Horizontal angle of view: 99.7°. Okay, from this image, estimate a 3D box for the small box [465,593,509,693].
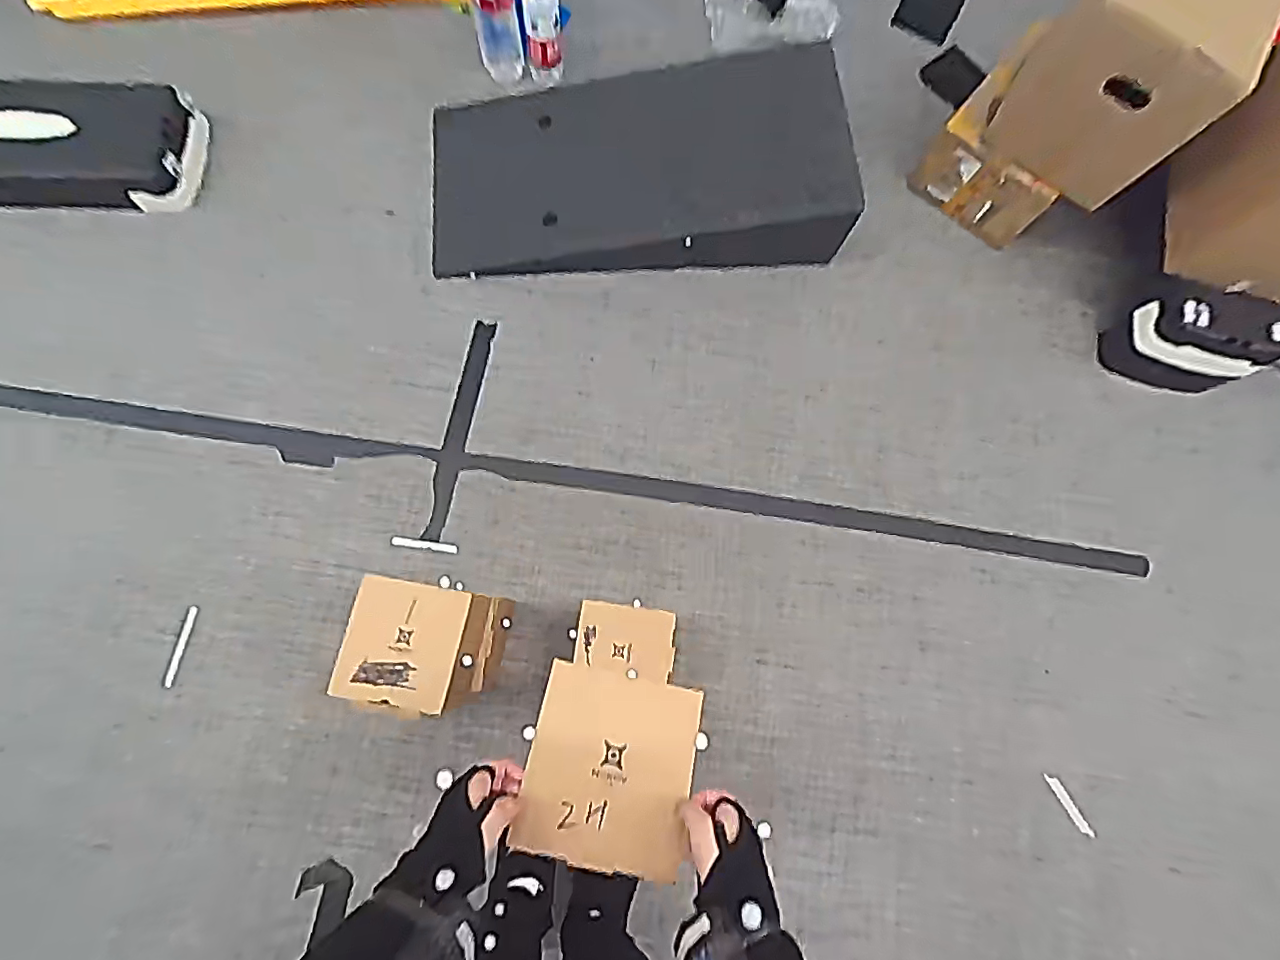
[{"bbox_3d":[-0.356,0.293,1.019,0.179,0.176,0.168,9,75,-2],"label":"small box"}]

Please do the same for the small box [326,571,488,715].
[{"bbox_3d":[-0.354,0.254,0.860,0.168,0.176,0.179,12,74,-2],"label":"small box"}]

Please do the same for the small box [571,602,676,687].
[{"bbox_3d":[-0.039,0.328,1.033,0.179,0.176,0.168,10,75,-2],"label":"small box"}]

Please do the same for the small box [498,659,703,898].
[{"bbox_3d":[-0.039,0.315,0.595,0.168,0.176,0.179,14,64,2],"label":"small box"}]
